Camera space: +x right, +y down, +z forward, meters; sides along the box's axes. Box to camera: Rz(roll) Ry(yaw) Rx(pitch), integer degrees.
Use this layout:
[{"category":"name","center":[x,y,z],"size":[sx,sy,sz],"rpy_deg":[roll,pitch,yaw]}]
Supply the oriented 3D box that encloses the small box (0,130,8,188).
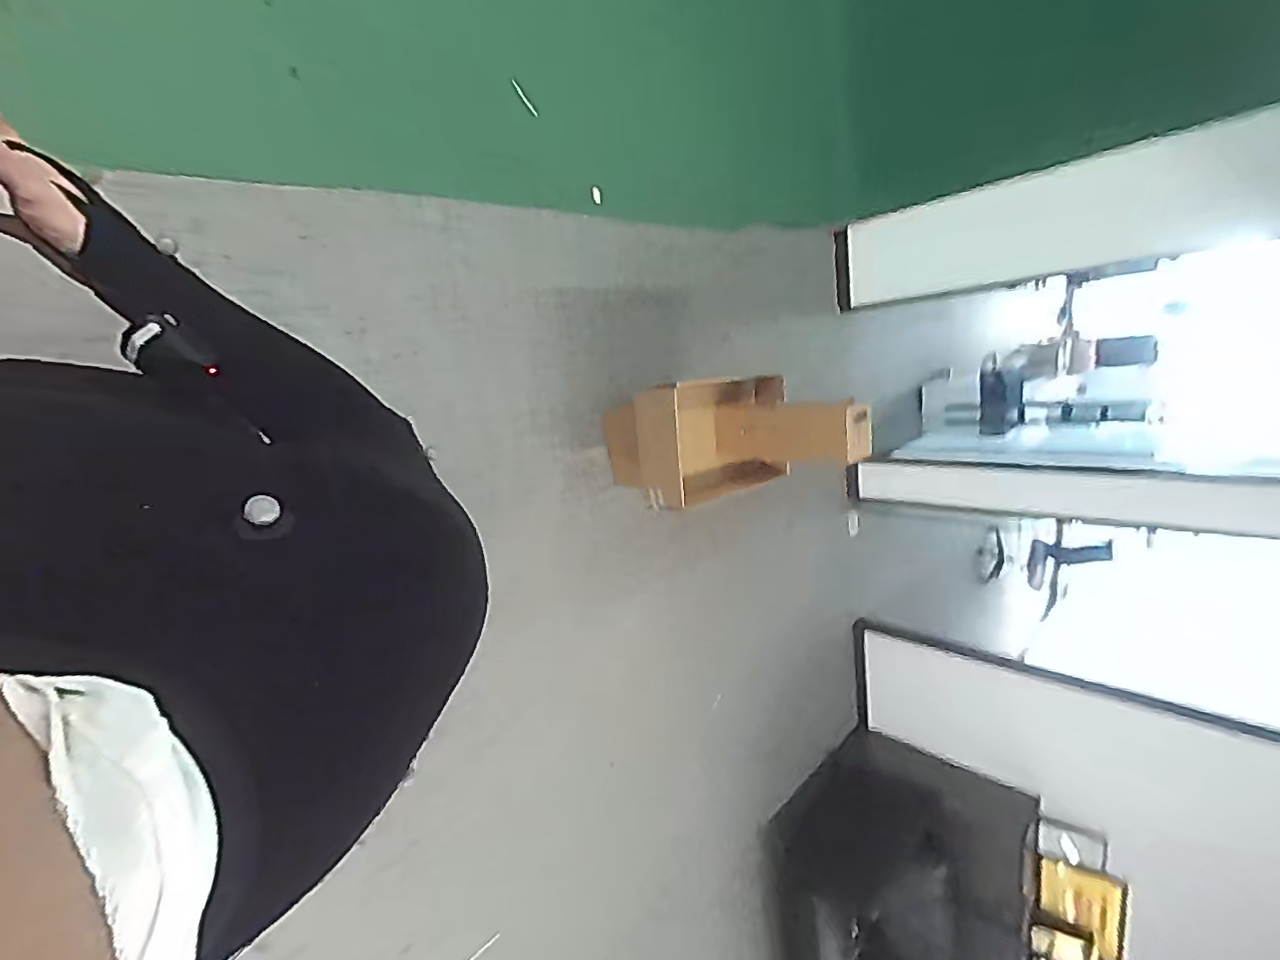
[{"category":"small box","center":[-0.548,-0.295,0.338],"size":[0.179,0.176,0.168],"rpy_deg":[-5,107,-44]}]

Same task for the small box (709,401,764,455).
[{"category":"small box","center":[0.368,-0.193,1.960],"size":[0.168,0.176,0.179],"rpy_deg":[-16,106,-42]}]

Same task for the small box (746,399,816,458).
[{"category":"small box","center":[0.479,-0.179,1.840],"size":[0.168,0.176,0.179],"rpy_deg":[-18,106,-42]}]
